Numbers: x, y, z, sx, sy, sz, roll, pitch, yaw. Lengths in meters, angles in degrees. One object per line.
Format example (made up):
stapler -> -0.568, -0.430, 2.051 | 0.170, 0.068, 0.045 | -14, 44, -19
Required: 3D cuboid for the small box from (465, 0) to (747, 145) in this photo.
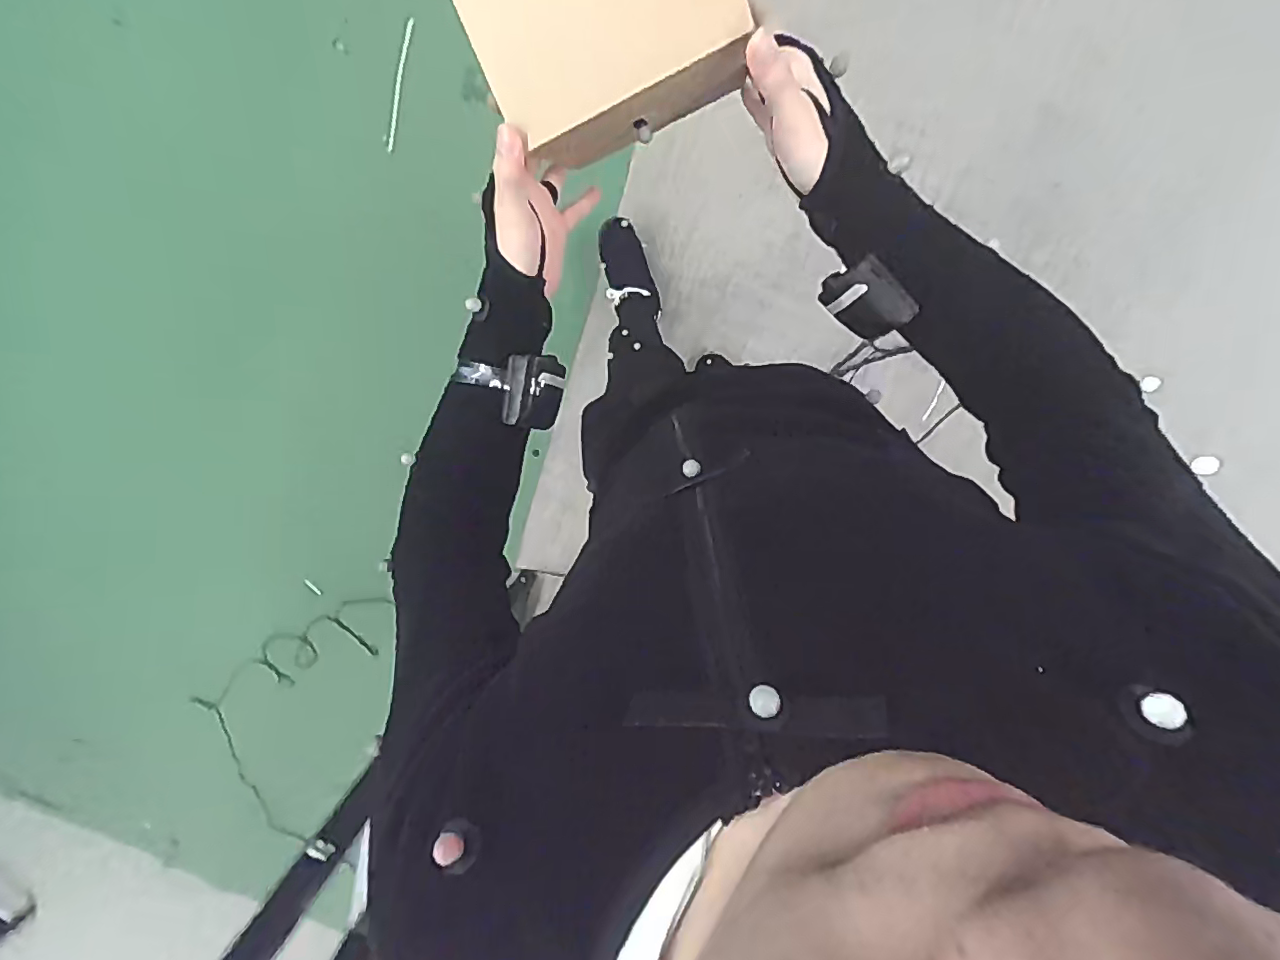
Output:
small box -> -0.025, -0.364, 0.387 | 0.168, 0.176, 0.179 | -16, 112, 16
